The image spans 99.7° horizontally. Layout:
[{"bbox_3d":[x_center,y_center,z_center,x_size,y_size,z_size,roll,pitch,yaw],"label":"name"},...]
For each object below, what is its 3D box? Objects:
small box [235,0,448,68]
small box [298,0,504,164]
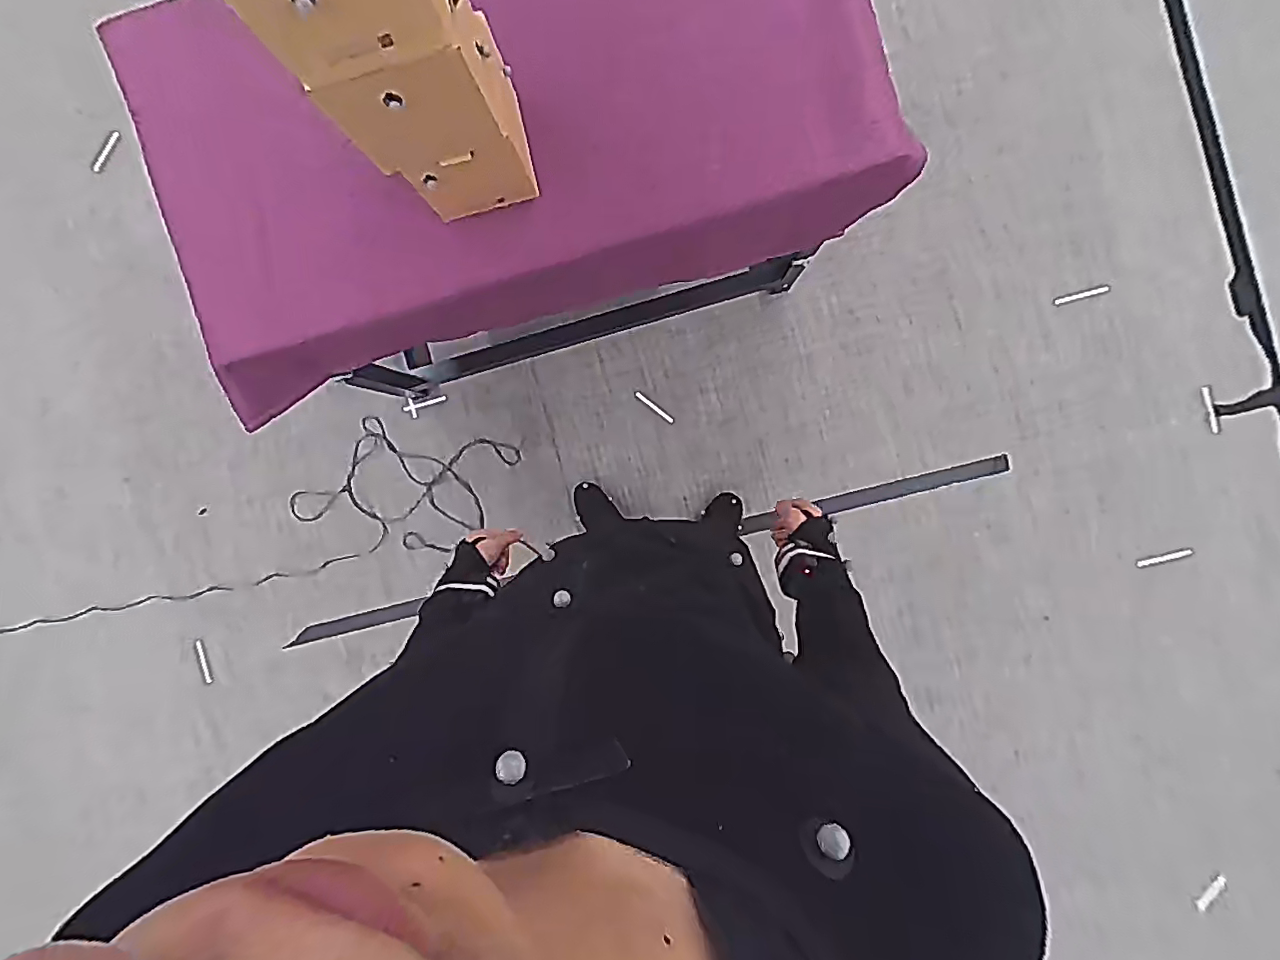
[{"bbox_3d":[-0.294,-0.516,0.484,0.168,0.176,0.179,-13,90,3],"label":"small box"},{"bbox_3d":[-0.284,-0.515,0.646,0.179,0.176,0.168,-13,92,3],"label":"small box"}]
